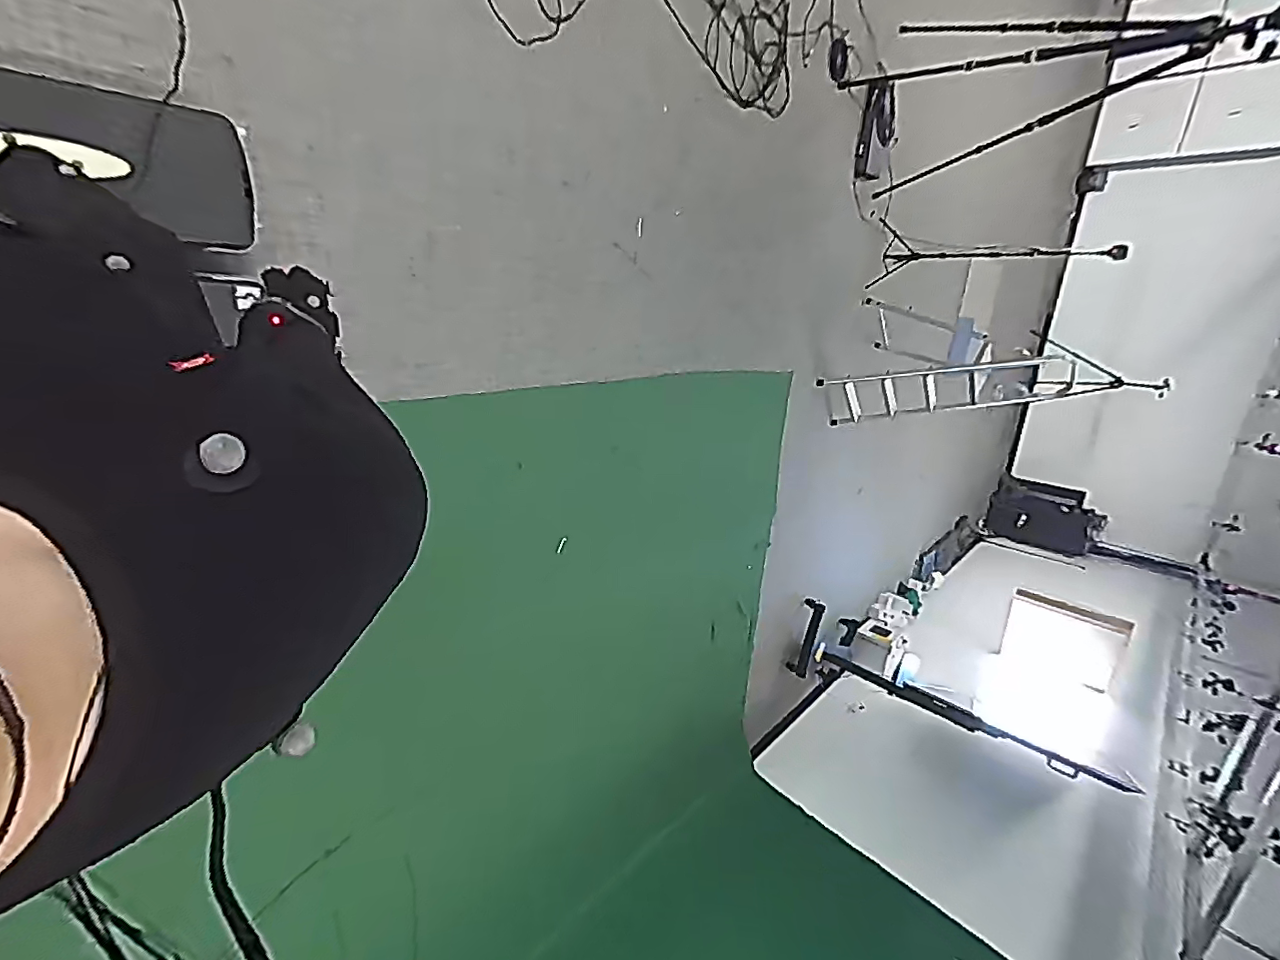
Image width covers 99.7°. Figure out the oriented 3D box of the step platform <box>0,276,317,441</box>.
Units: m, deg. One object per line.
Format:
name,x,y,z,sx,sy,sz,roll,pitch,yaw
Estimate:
step platform,-0.998,-0.216,0.978,0.684,0.204,0.286,-16,116,-44
